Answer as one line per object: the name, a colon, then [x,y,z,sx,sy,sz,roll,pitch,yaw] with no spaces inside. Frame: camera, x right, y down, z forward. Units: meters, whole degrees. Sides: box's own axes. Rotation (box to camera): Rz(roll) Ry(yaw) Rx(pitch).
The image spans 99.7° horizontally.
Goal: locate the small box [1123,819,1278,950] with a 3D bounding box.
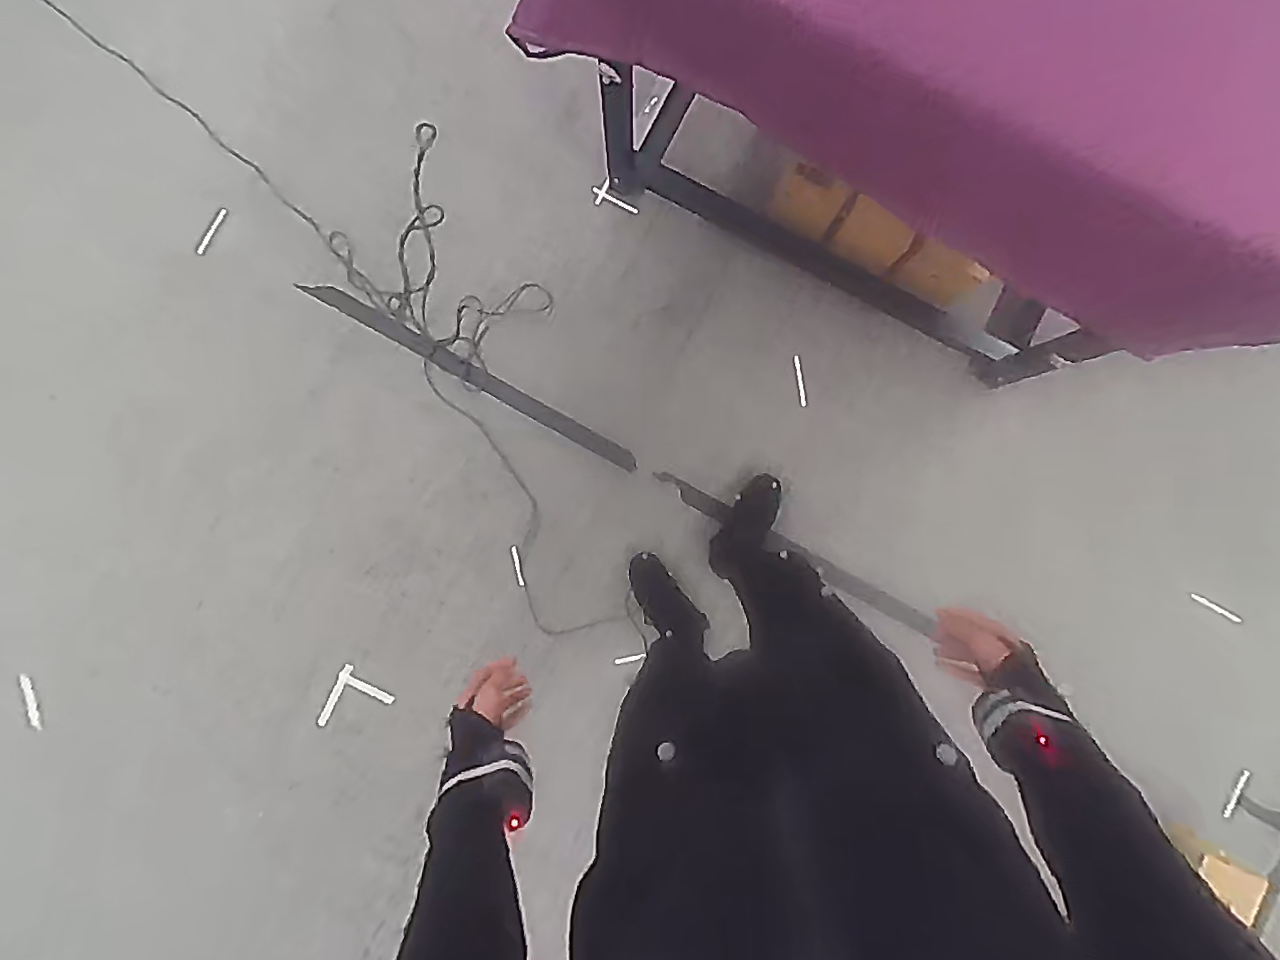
small box: [1.370,0.984,1.334,0.179,0.176,0.168,24,88,1]
